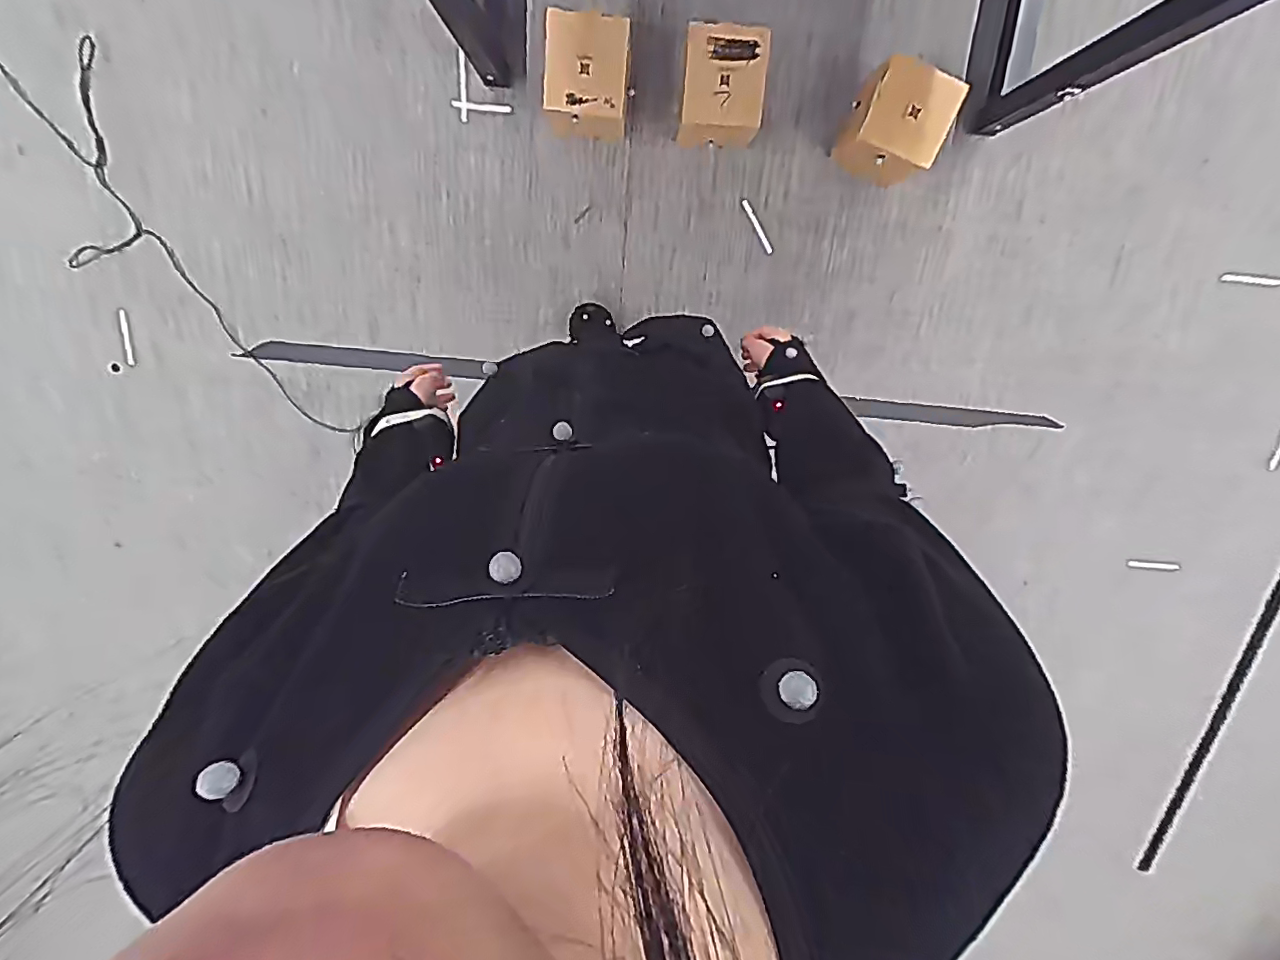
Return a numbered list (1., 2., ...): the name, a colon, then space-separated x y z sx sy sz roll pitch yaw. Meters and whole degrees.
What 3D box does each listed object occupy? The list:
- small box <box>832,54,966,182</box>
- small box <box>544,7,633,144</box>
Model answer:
1. small box: 0.560 -0.784 1.196 0.179 0.176 0.168 21 107 -6
2. small box: -0.108 -0.856 1.162 0.168 0.176 0.179 7 106 -3
